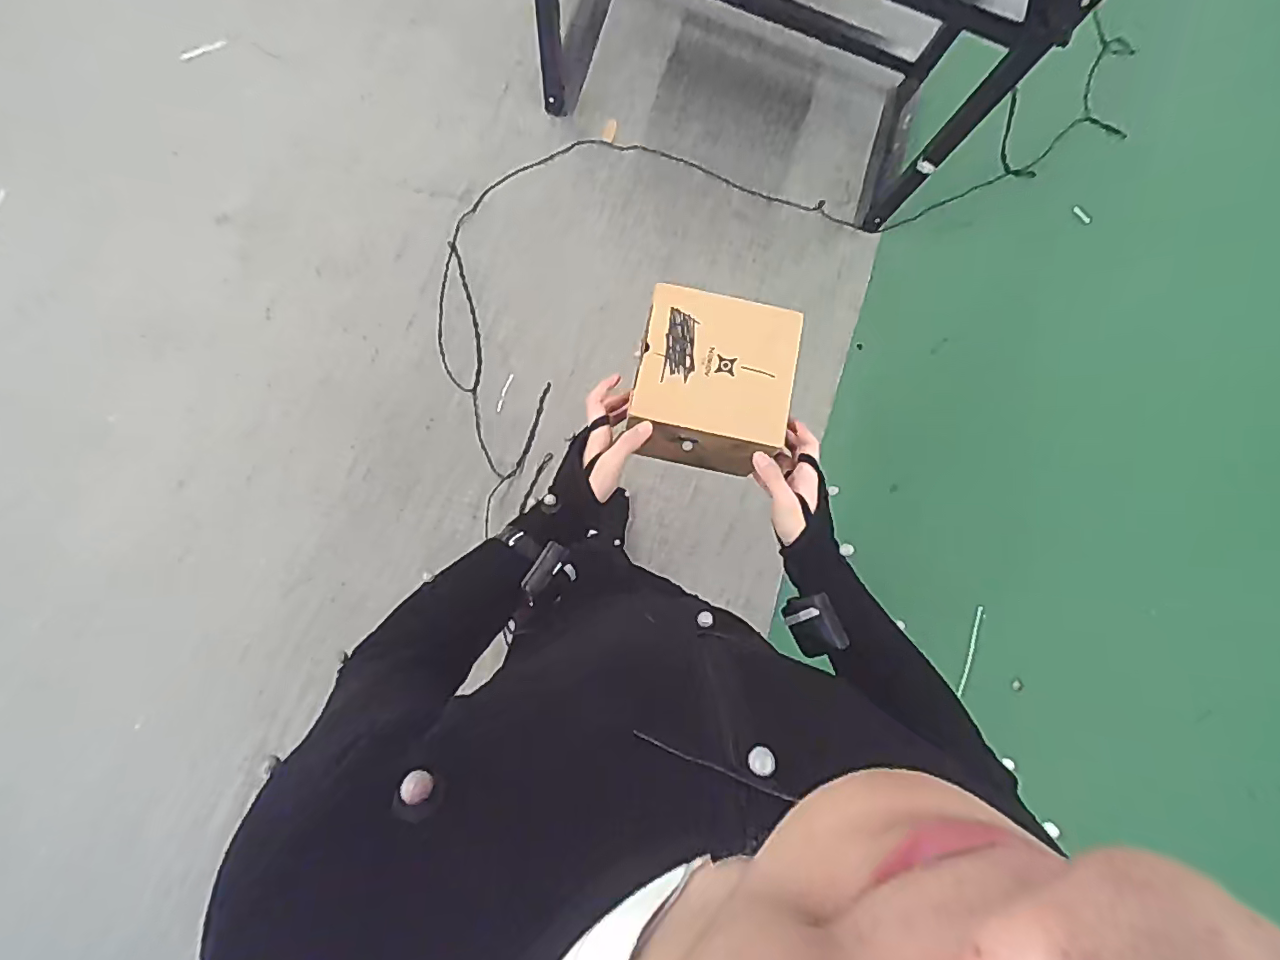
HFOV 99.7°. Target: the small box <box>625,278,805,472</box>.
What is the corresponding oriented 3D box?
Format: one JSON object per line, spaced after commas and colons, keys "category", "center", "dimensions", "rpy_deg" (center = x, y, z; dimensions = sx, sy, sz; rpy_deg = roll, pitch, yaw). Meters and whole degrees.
{"category": "small box", "center": [0.081, -0.116, 0.670], "dimensions": [0.179, 0.176, 0.168], "rpy_deg": [13, 79, -1]}
